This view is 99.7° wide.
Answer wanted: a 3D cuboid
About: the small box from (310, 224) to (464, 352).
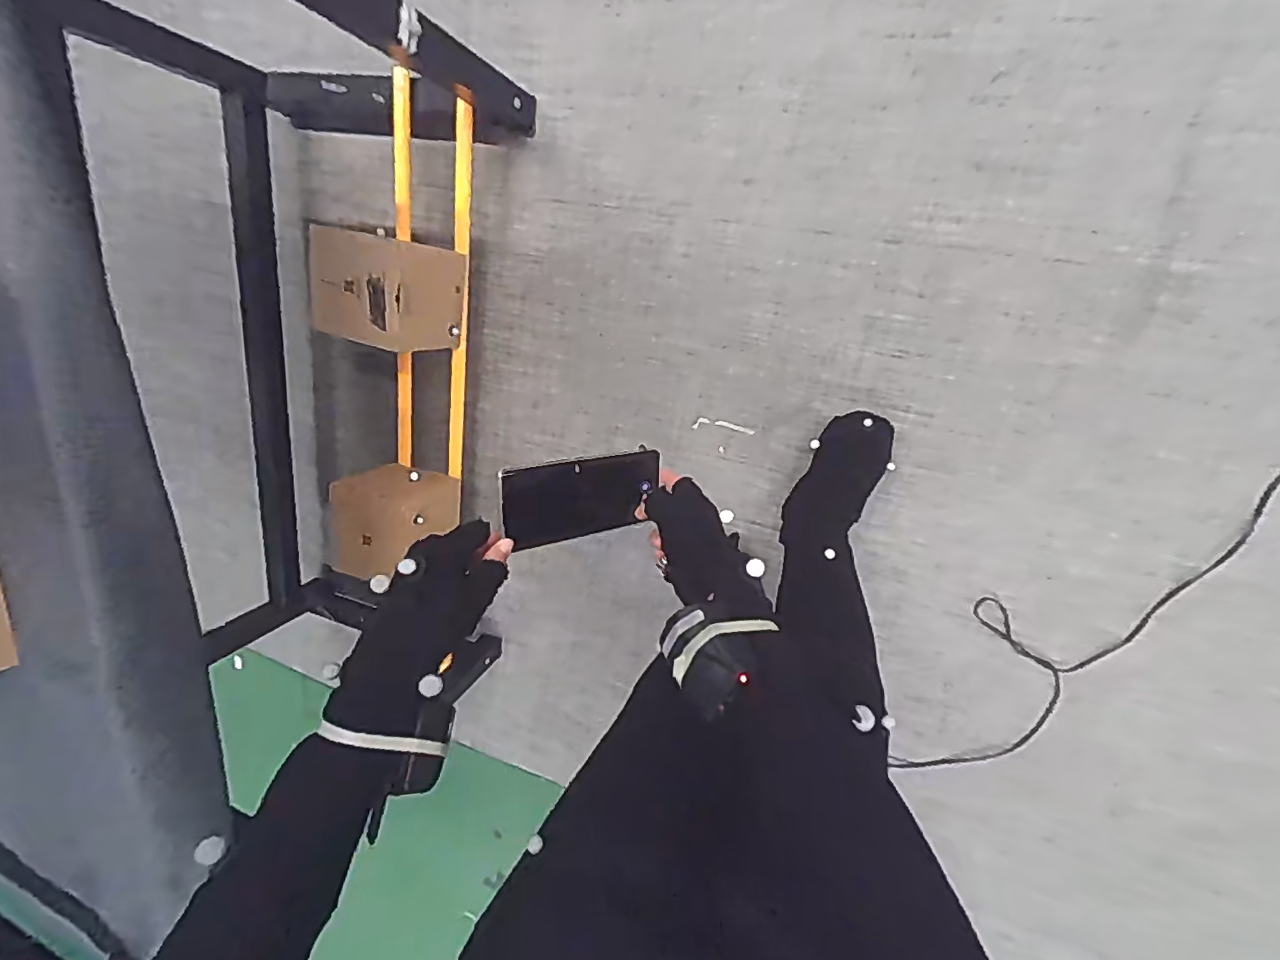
[{"bbox_3d":[-0.424,-0.324,0.924,0.179,0.176,0.168,17,110,14],"label":"small box"}]
